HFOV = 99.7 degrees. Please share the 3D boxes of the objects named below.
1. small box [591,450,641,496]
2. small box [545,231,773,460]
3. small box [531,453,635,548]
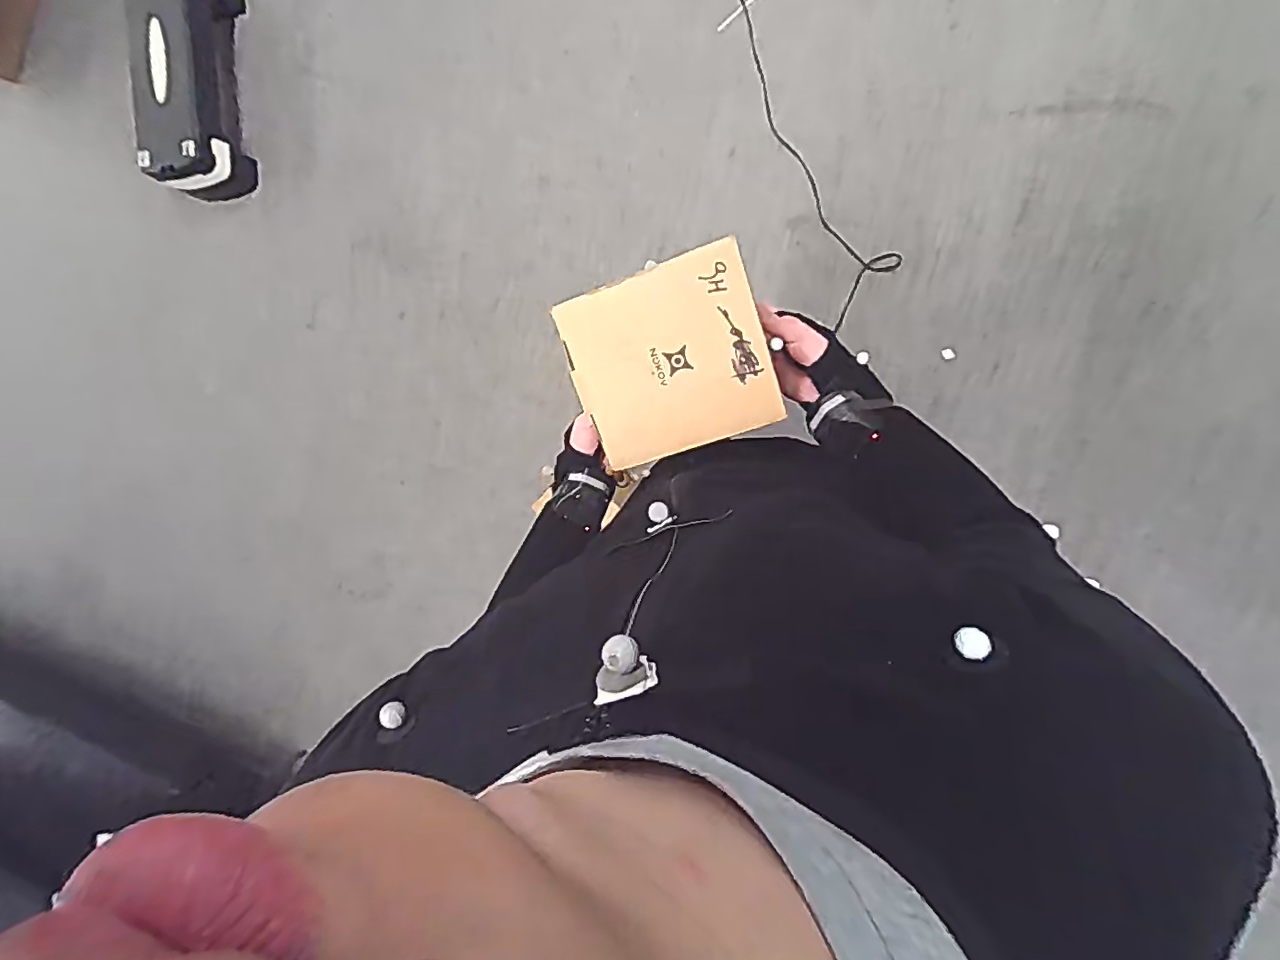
[{"bbox_3d":[-0.122,0.021,1.558,0.179,0.176,0.168,-35,88,16],"label":"small box"},{"bbox_3d":[0.031,-0.138,0.564,0.179,0.176,0.168,-15,106,15],"label":"small box"},{"bbox_3d":[-0.141,0.043,1.394,0.179,0.176,0.168,44,107,5],"label":"small box"}]
